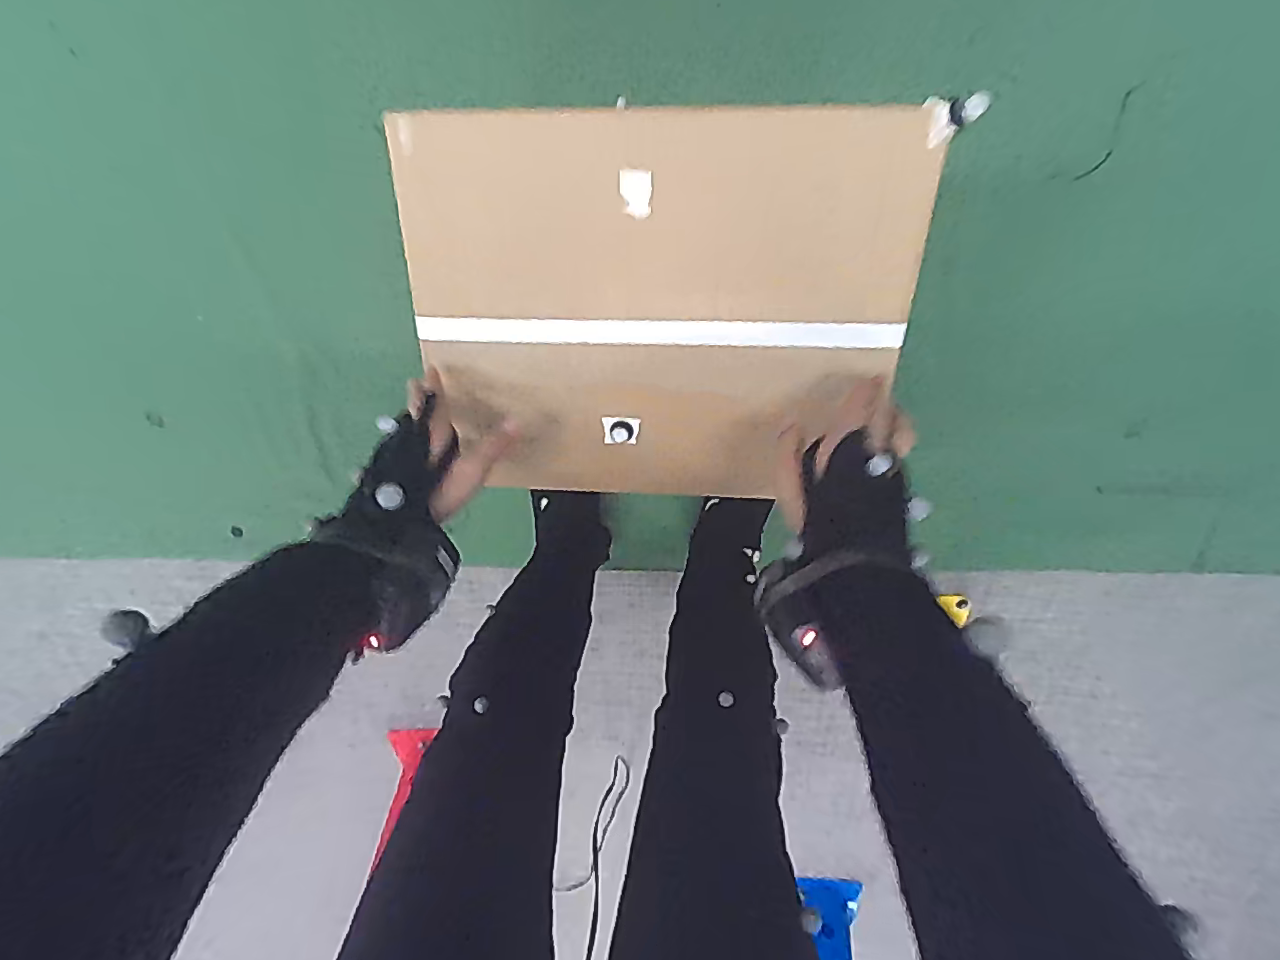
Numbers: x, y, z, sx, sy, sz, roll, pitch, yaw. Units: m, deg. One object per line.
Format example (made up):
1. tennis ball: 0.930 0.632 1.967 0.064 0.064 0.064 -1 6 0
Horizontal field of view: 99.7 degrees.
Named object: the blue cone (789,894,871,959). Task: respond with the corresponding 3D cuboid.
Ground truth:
1. blue cone: 0.458 1.157 1.196 0.192 0.380 0.193 0 116 5
